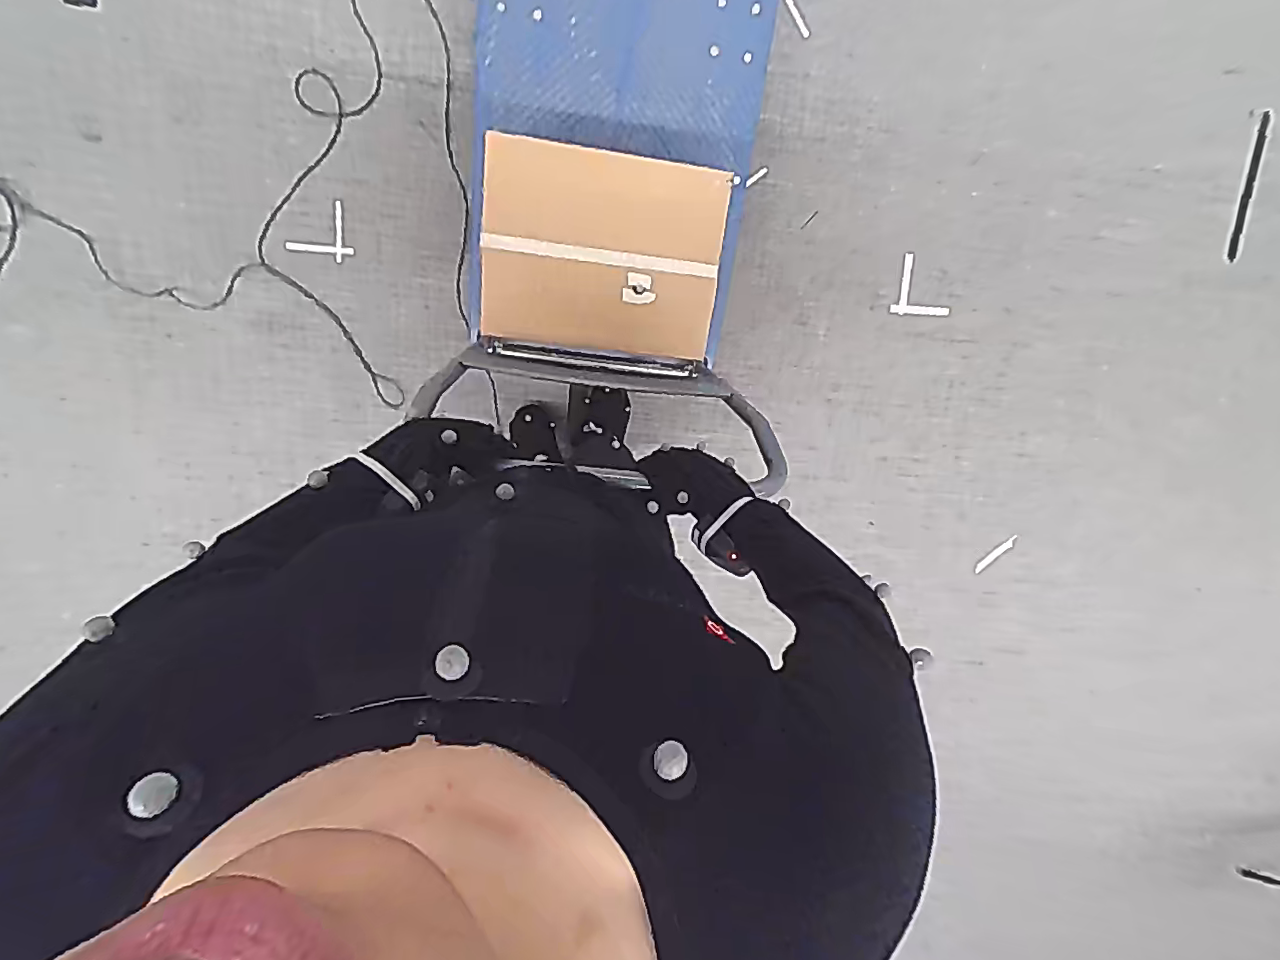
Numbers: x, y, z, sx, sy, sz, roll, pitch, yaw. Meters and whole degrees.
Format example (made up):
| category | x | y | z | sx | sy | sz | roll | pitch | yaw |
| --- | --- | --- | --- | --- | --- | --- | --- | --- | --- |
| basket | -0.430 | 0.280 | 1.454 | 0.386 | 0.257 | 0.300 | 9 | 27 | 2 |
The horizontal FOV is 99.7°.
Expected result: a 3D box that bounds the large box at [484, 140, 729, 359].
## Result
| category | x | y | z | sx | sy | sz | roll | pitch | yaw |
| --- | --- | --- | --- | --- | --- | --- | --- | --- | --- |
| large box | -0.081 | -0.428 | 1.060 | 0.408 | 0.320 | 0.320 | 4 | 110 | -8 |
